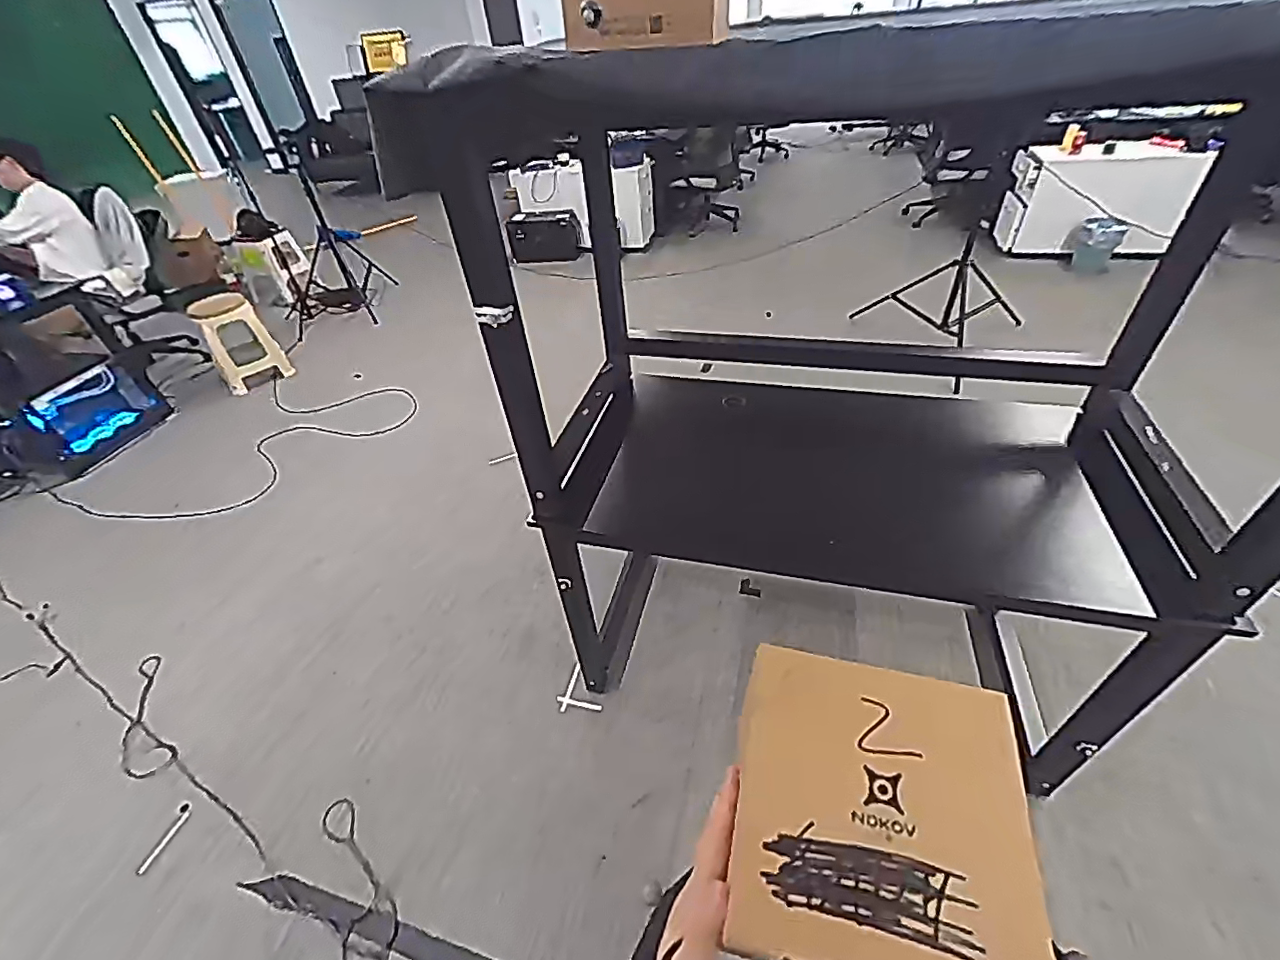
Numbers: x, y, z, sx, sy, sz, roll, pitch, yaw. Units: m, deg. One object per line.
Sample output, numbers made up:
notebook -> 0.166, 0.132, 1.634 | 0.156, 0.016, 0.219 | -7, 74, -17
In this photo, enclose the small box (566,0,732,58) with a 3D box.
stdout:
small box -> 0.014, -0.579, 0.597 | 0.168, 0.176, 0.179 | 6, 40, 12
